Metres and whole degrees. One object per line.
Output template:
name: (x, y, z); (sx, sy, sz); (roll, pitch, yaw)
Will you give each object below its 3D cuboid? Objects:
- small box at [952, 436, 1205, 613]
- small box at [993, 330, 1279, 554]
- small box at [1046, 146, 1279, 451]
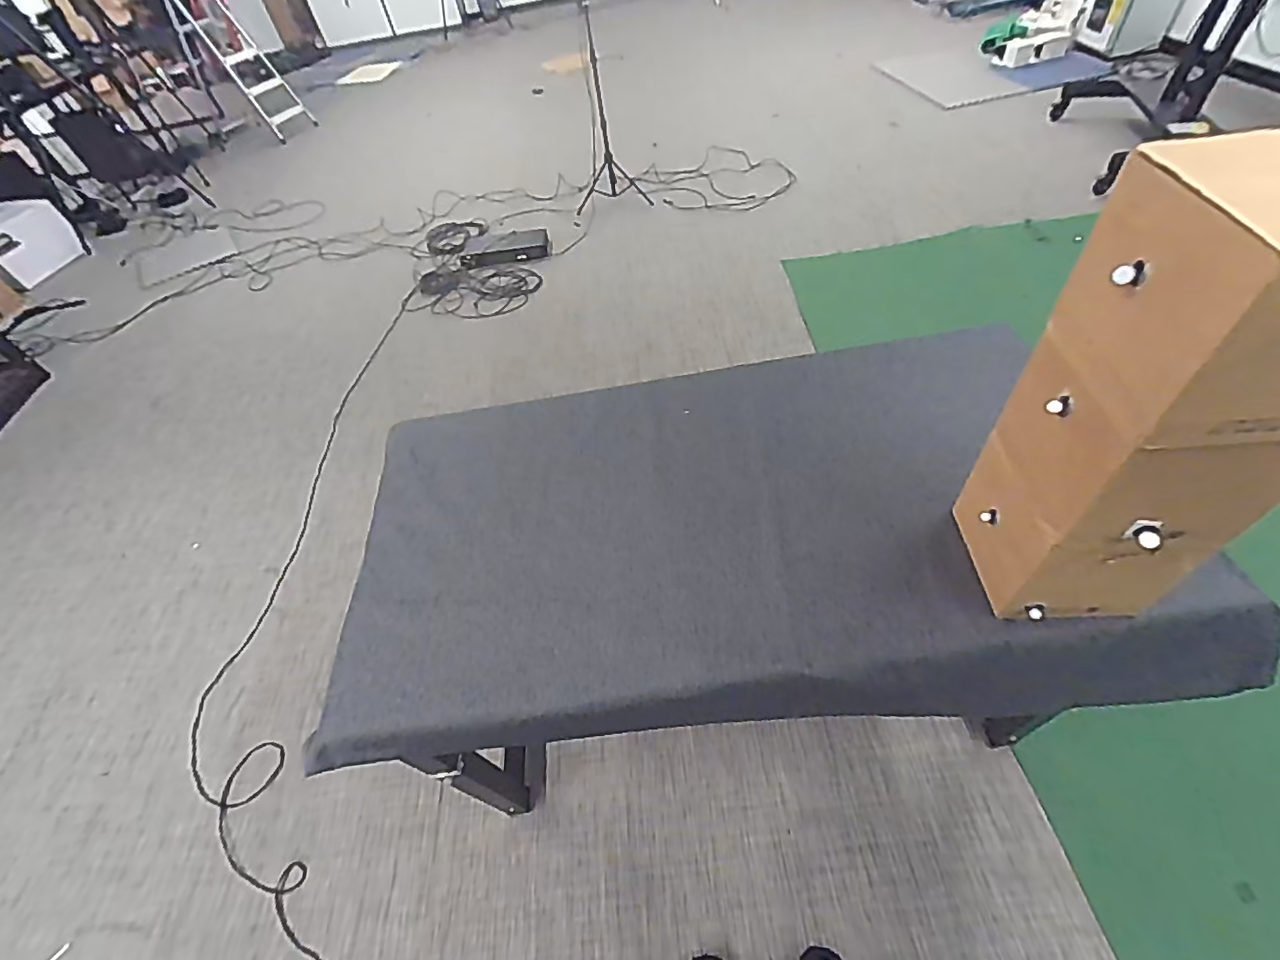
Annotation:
small box: (0.527, 0.058, 0.684); (0.168, 0.176, 0.179); (-3, 49, 7)
small box: (0.504, -0.042, 0.560); (0.168, 0.176, 0.179); (-4, 51, 9)
small box: (0.476, -0.144, 0.434); (0.168, 0.176, 0.179); (-3, 49, 8)
